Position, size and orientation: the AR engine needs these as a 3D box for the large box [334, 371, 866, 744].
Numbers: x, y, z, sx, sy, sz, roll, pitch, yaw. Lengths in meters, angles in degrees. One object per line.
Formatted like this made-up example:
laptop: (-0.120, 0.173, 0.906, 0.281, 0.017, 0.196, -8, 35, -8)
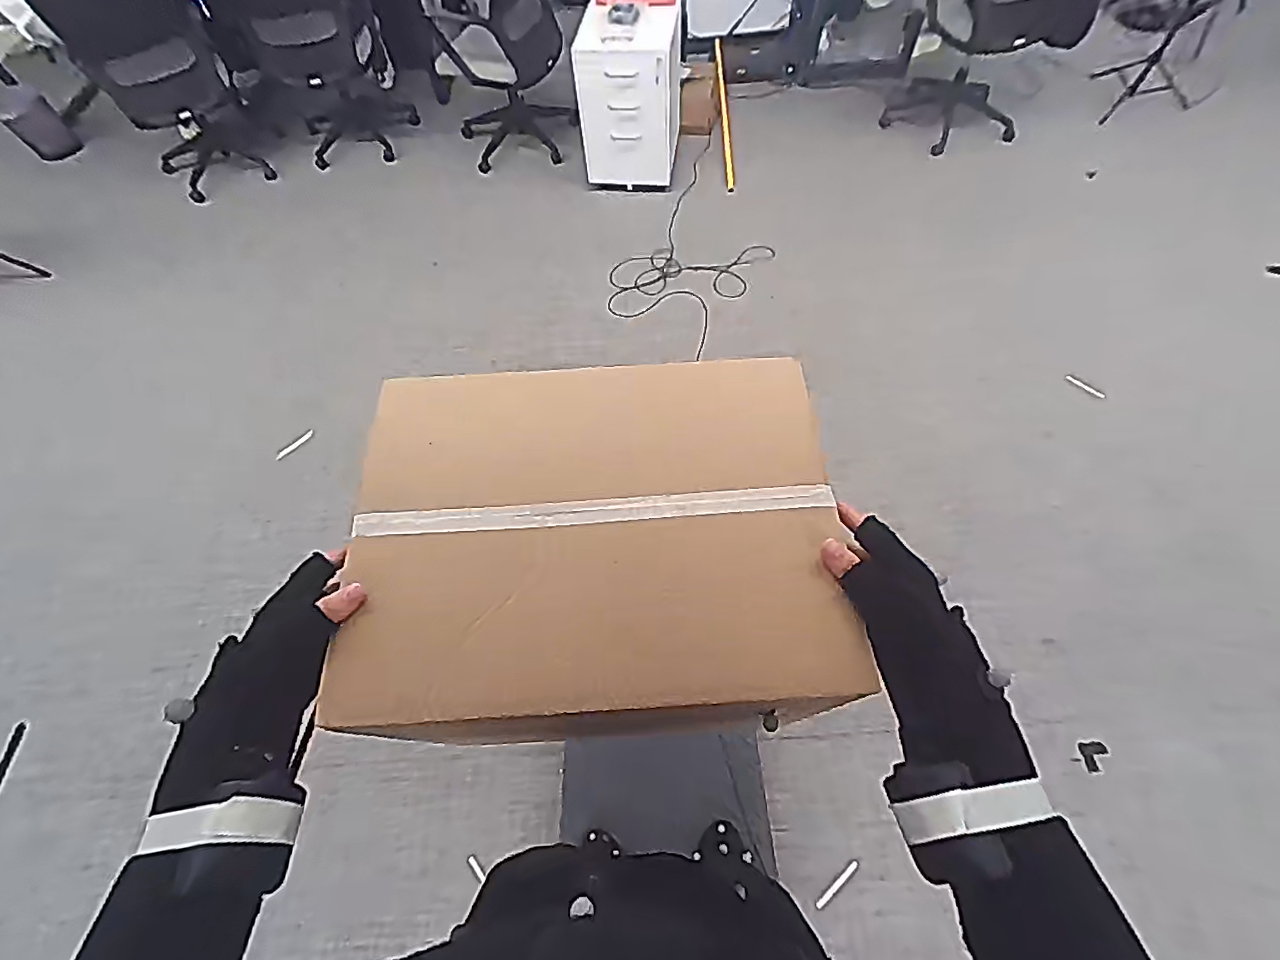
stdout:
large box: (-0.034, 0.106, 0.599, 0.408, 0.320, 0.320, -3, 61, -1)
